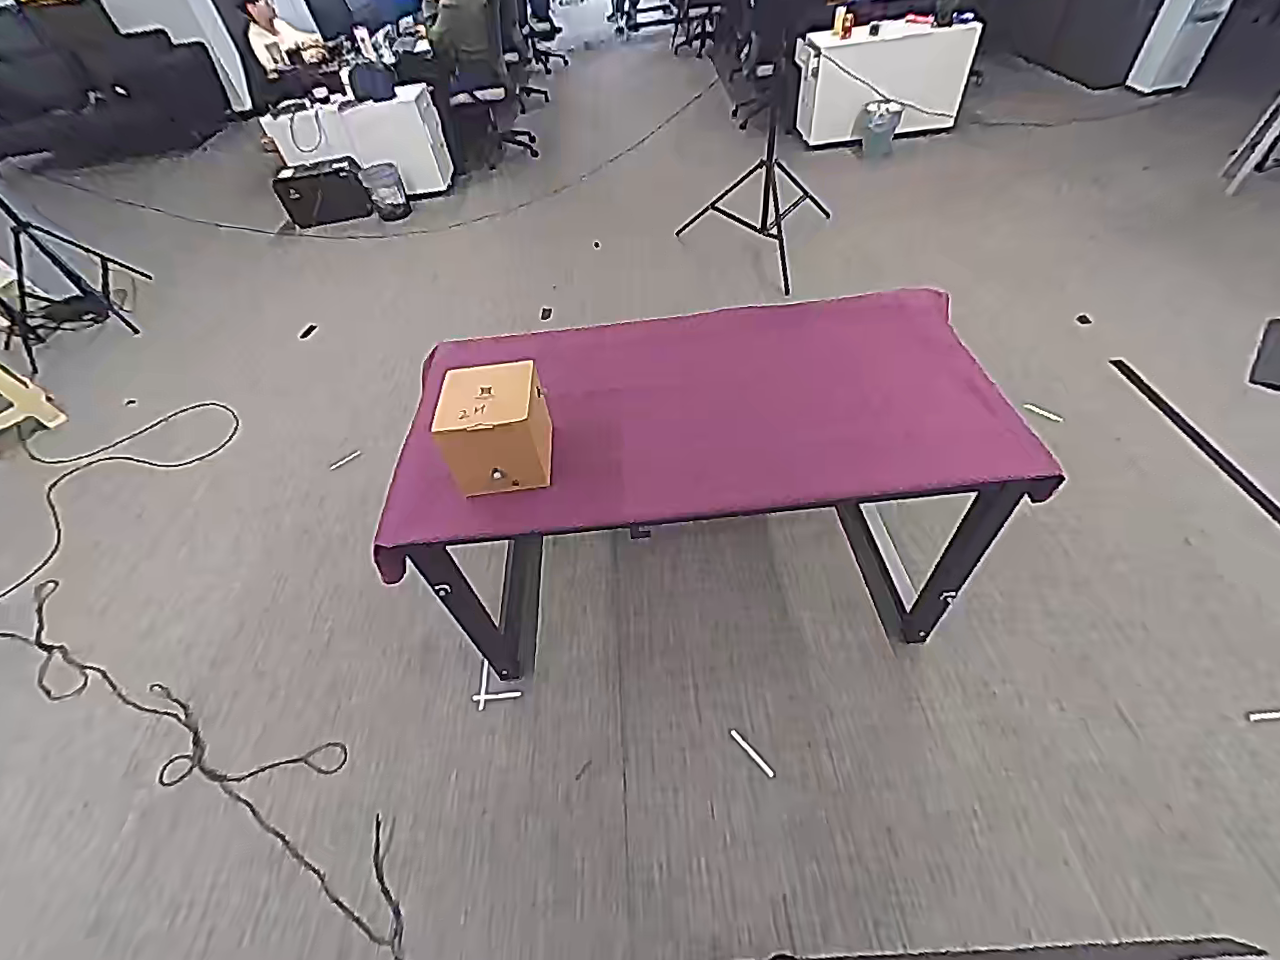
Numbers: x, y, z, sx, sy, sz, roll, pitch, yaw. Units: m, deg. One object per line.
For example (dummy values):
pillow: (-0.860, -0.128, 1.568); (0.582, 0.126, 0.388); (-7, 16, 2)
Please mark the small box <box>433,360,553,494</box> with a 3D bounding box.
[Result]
small box: (-0.264, -0.098, 1.014); (0.168, 0.176, 0.179); (-7, 48, 2)
